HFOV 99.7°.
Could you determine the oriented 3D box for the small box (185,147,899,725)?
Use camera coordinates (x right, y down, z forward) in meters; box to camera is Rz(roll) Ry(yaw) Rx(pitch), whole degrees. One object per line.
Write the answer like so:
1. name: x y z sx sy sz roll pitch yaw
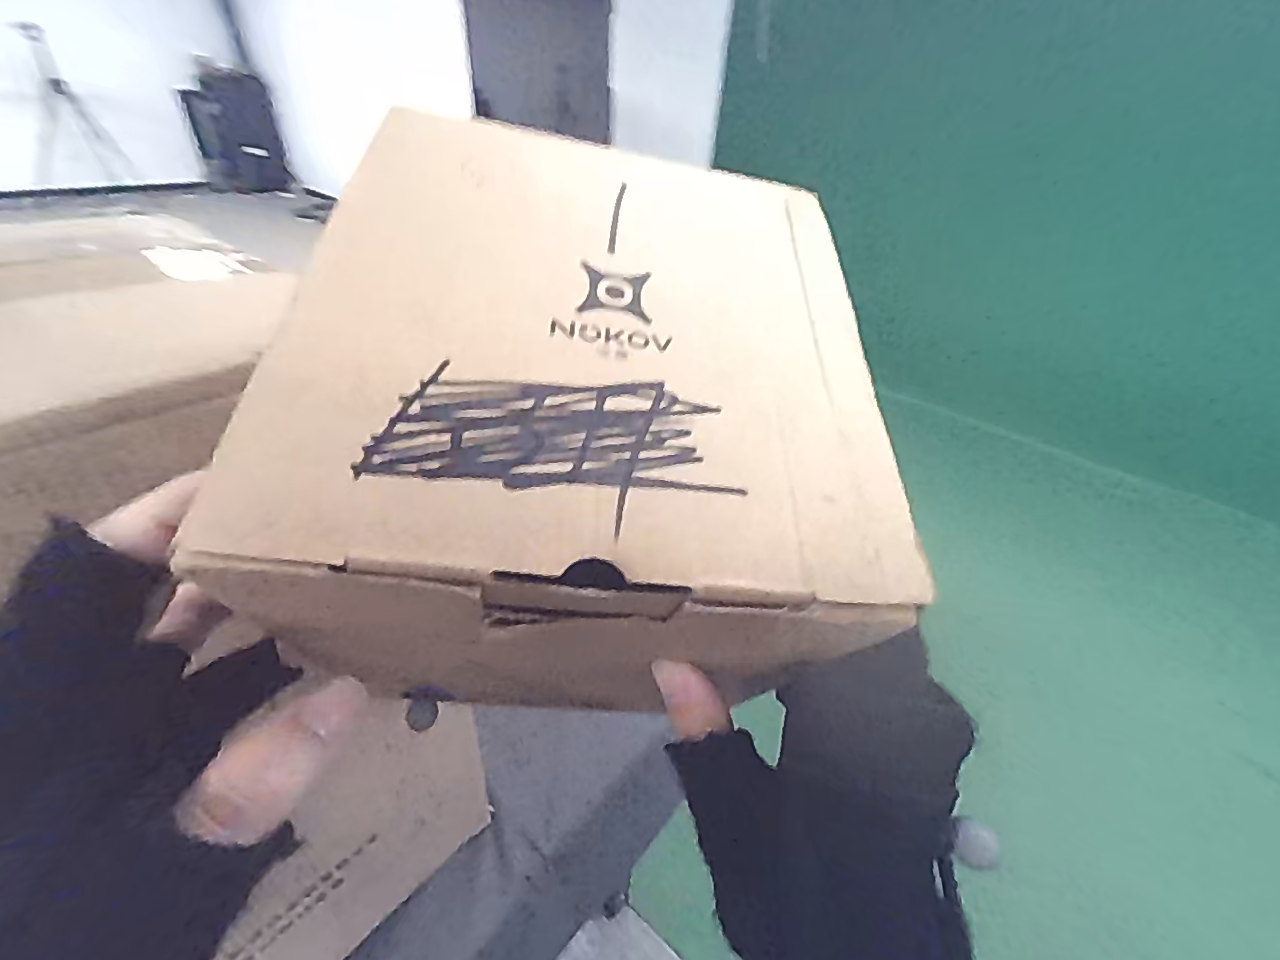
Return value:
1. small box: -0.026 0.000 0.233 0.168 0.176 0.179 7 57 -7
